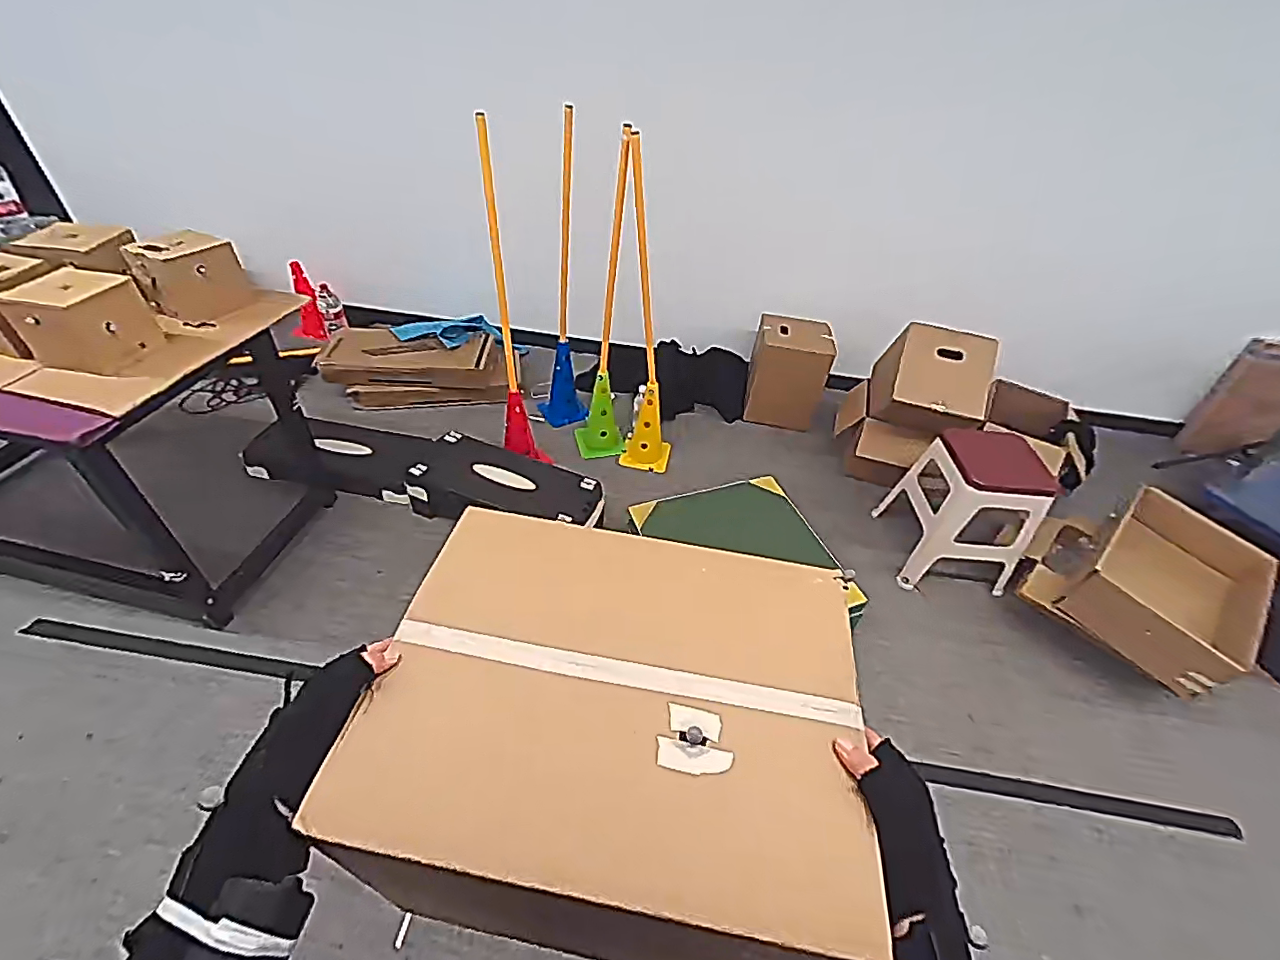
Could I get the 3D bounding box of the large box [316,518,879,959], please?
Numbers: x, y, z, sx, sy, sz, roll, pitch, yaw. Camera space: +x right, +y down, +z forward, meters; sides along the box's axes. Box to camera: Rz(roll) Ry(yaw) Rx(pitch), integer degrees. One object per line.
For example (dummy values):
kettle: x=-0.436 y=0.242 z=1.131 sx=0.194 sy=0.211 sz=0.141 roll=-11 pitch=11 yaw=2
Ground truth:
large box: x=-0.025 y=0.281 z=0.577 sx=0.408 sy=0.320 sz=0.320 roll=10 pitch=44 yaw=4
